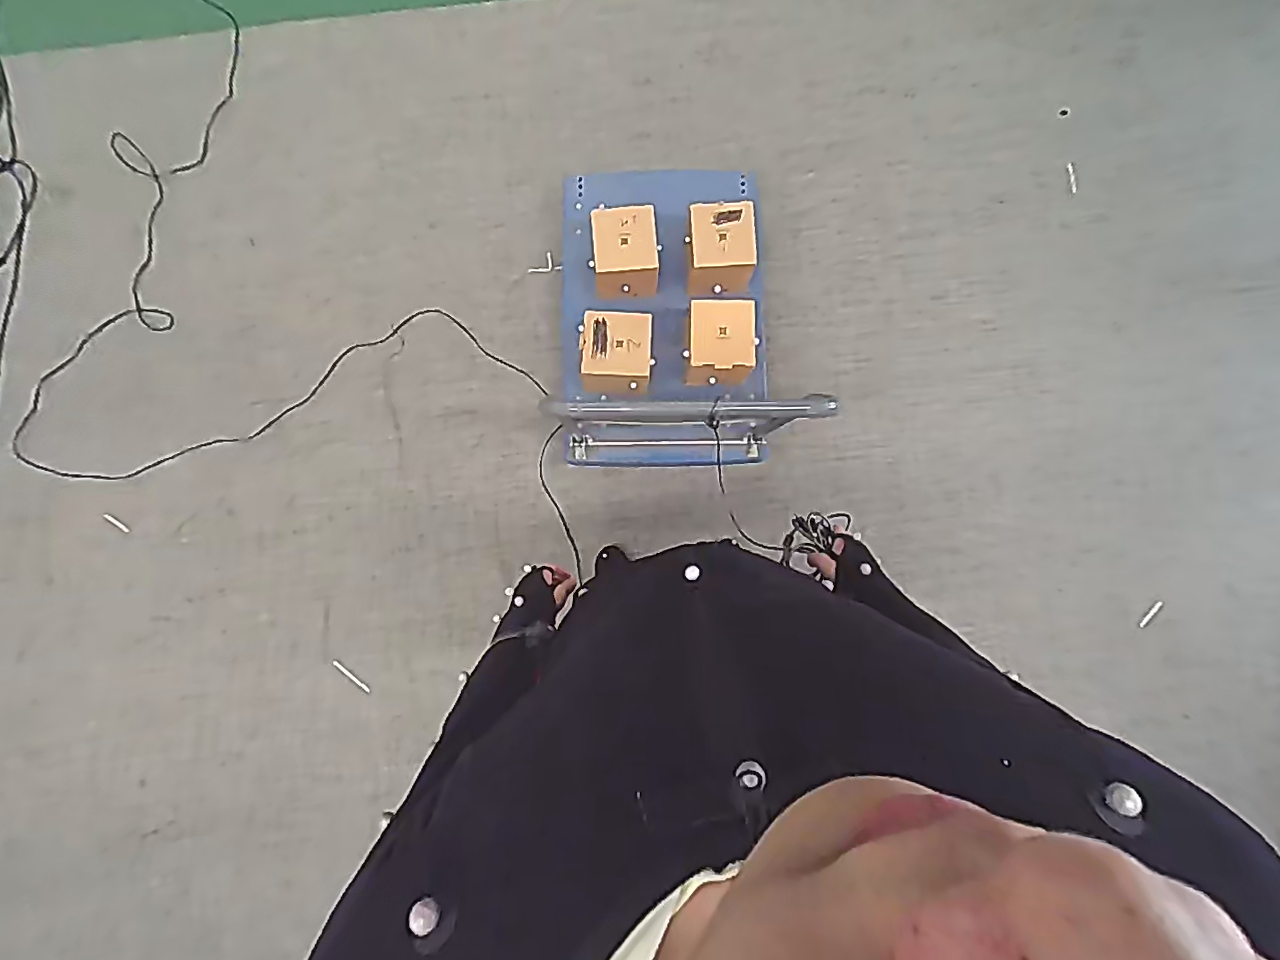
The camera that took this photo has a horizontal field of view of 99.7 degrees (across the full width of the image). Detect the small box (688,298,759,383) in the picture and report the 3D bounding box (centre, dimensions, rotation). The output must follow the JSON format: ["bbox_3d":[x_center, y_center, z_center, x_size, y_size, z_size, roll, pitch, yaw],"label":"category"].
[{"bbox_3d":[0.218,-0.368,1.446,0.168,0.176,0.179,0,85,0],"label":"small box"}]

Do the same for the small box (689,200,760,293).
[{"bbox_3d":[0.225,-0.630,1.471,0.168,0.176,0.179,-3,85,1],"label":"small box"}]

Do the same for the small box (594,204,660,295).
[{"bbox_3d":[-0.033,-0.618,1.472,0.168,0.176,0.179,-4,84,-1],"label":"small box"}]
